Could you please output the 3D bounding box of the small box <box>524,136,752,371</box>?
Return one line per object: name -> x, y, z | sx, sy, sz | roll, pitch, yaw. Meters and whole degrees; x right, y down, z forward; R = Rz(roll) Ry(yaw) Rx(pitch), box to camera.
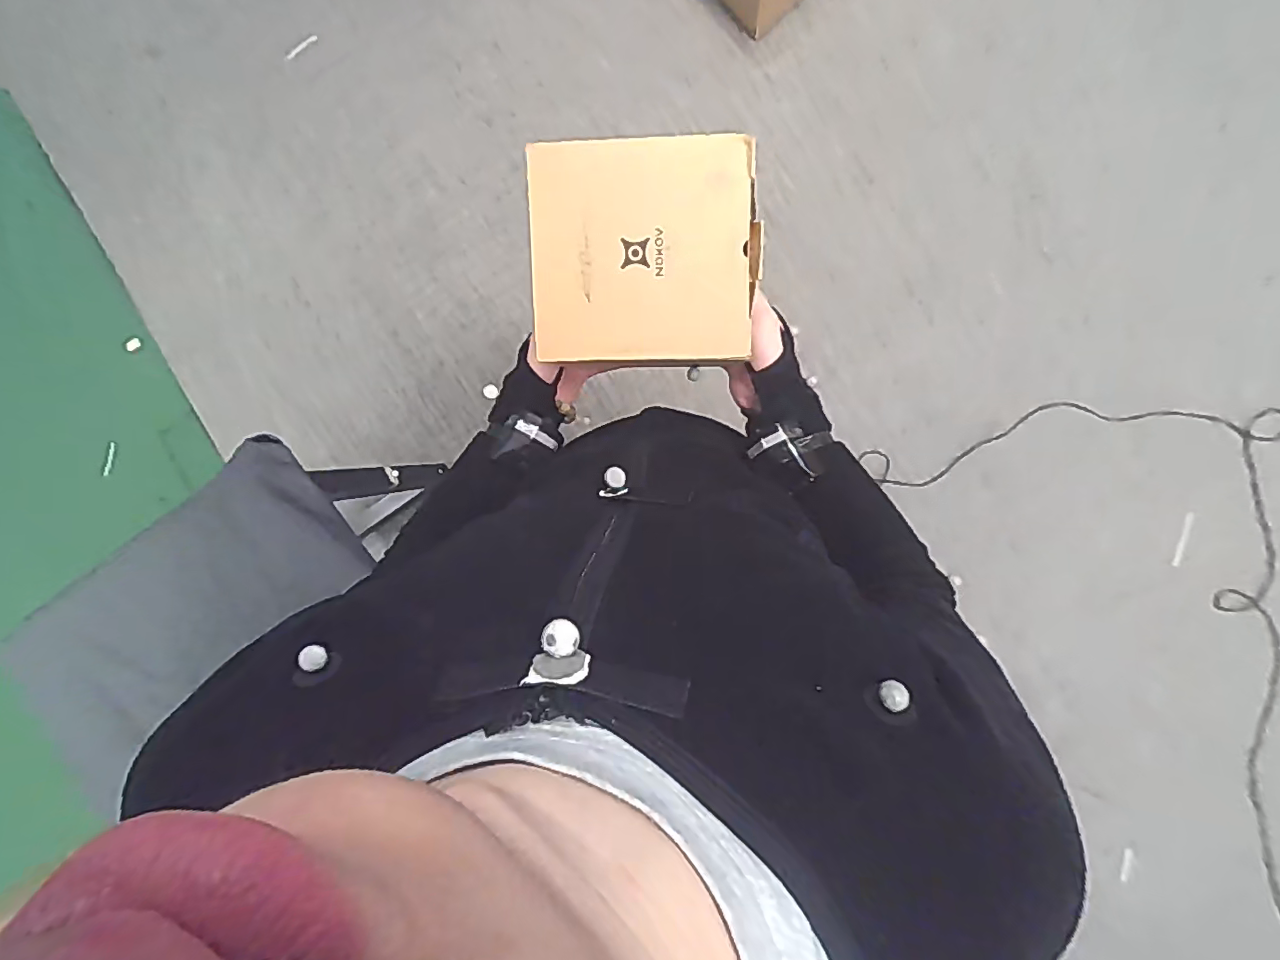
small box -> 0.005, -0.189, 0.500 | 0.179, 0.176, 0.168 | -1, 99, 6
